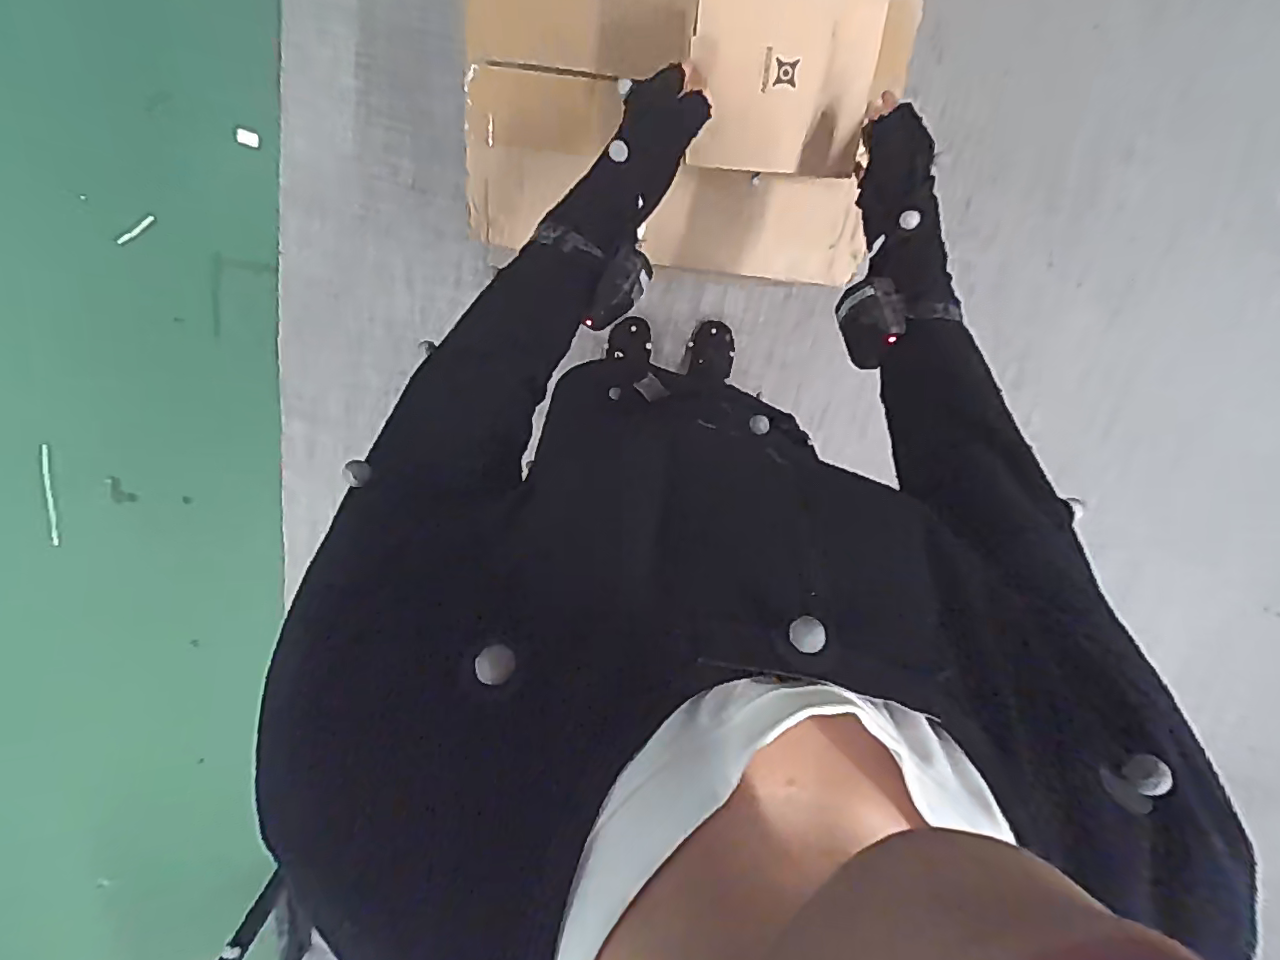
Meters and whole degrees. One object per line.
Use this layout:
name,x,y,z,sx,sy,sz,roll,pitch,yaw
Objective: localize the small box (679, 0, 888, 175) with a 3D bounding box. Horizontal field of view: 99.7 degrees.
small box,0.136,-0.429,0.581,0.179,0.176,0.168,3,119,-1
